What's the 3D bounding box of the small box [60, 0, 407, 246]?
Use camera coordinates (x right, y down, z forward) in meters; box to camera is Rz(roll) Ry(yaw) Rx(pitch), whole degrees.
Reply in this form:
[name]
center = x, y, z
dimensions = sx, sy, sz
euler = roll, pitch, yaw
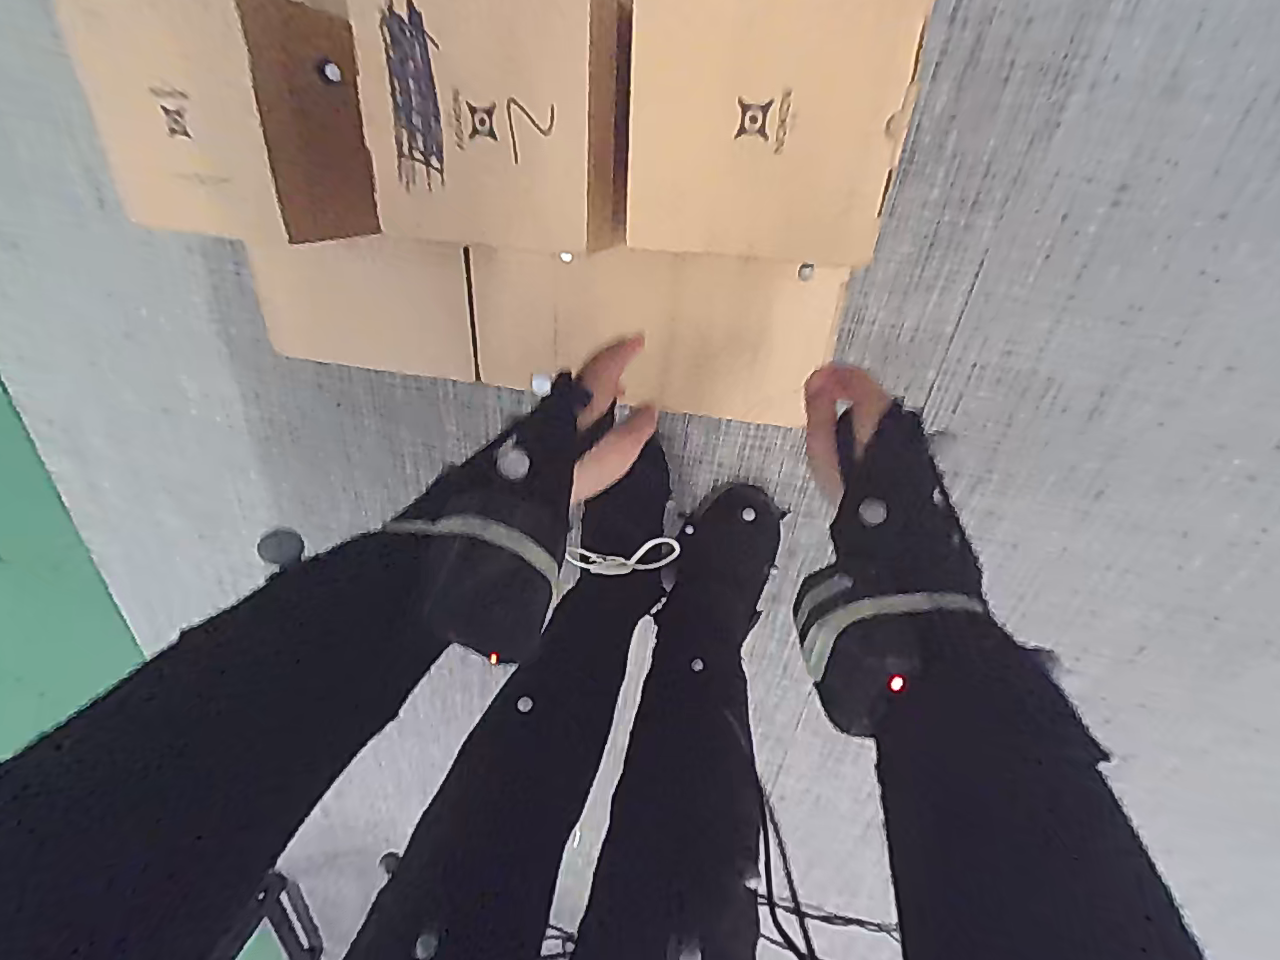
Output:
[small box]
center = -0.342, -0.325, 0.495
dimensions = 0.168, 0.176, 0.179
euler = 10, 121, 10
